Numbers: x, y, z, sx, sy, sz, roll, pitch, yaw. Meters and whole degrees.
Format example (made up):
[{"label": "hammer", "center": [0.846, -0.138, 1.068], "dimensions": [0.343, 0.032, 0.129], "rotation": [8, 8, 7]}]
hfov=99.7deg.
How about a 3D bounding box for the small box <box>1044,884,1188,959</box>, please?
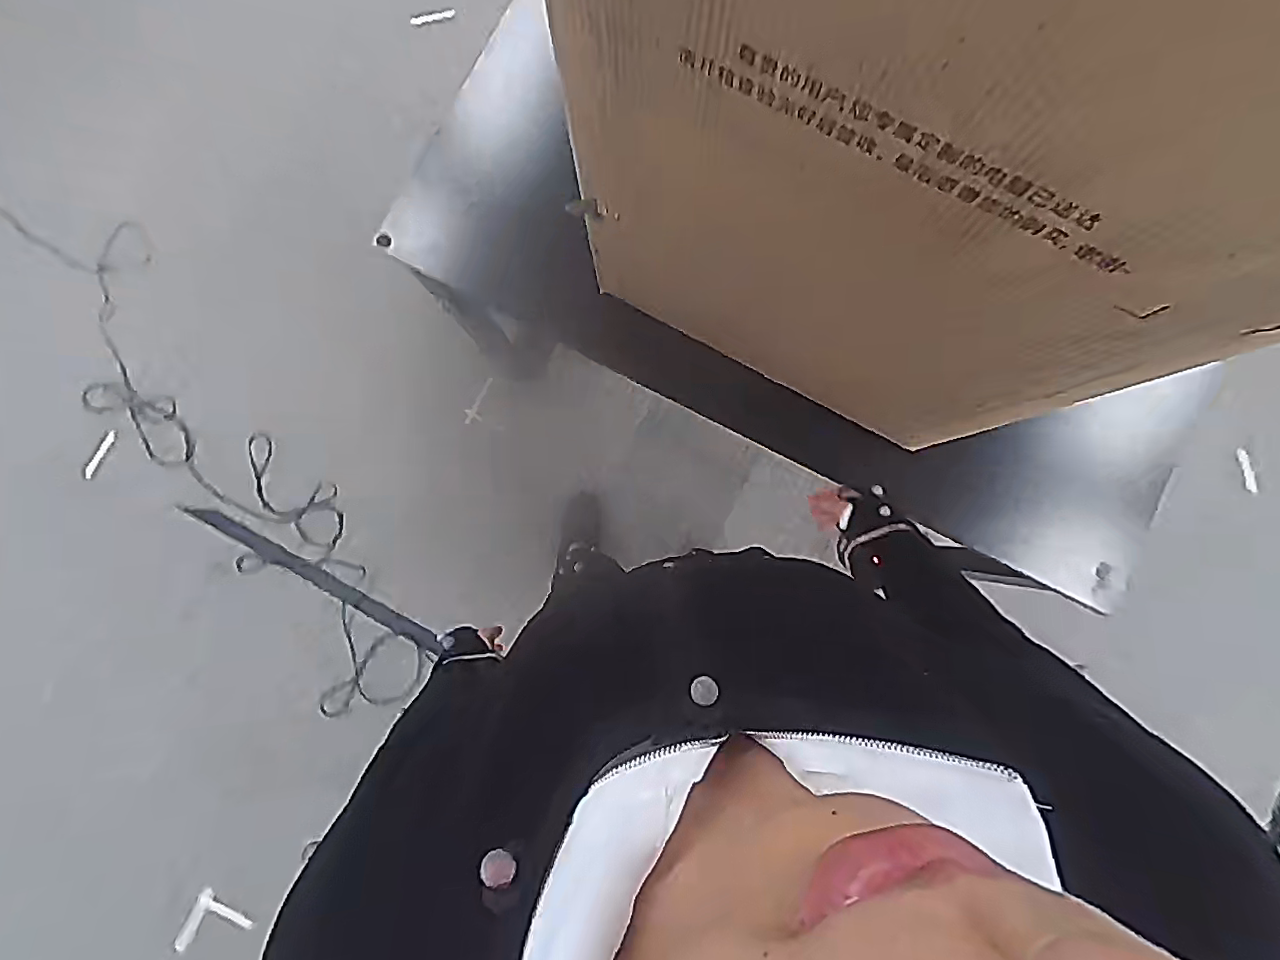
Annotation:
[{"label": "small box", "center": [1.151, 1.144, 1.320], "dimensions": [0.179, 0.176, 0.168], "rotation": [24, 84, 4]}]
